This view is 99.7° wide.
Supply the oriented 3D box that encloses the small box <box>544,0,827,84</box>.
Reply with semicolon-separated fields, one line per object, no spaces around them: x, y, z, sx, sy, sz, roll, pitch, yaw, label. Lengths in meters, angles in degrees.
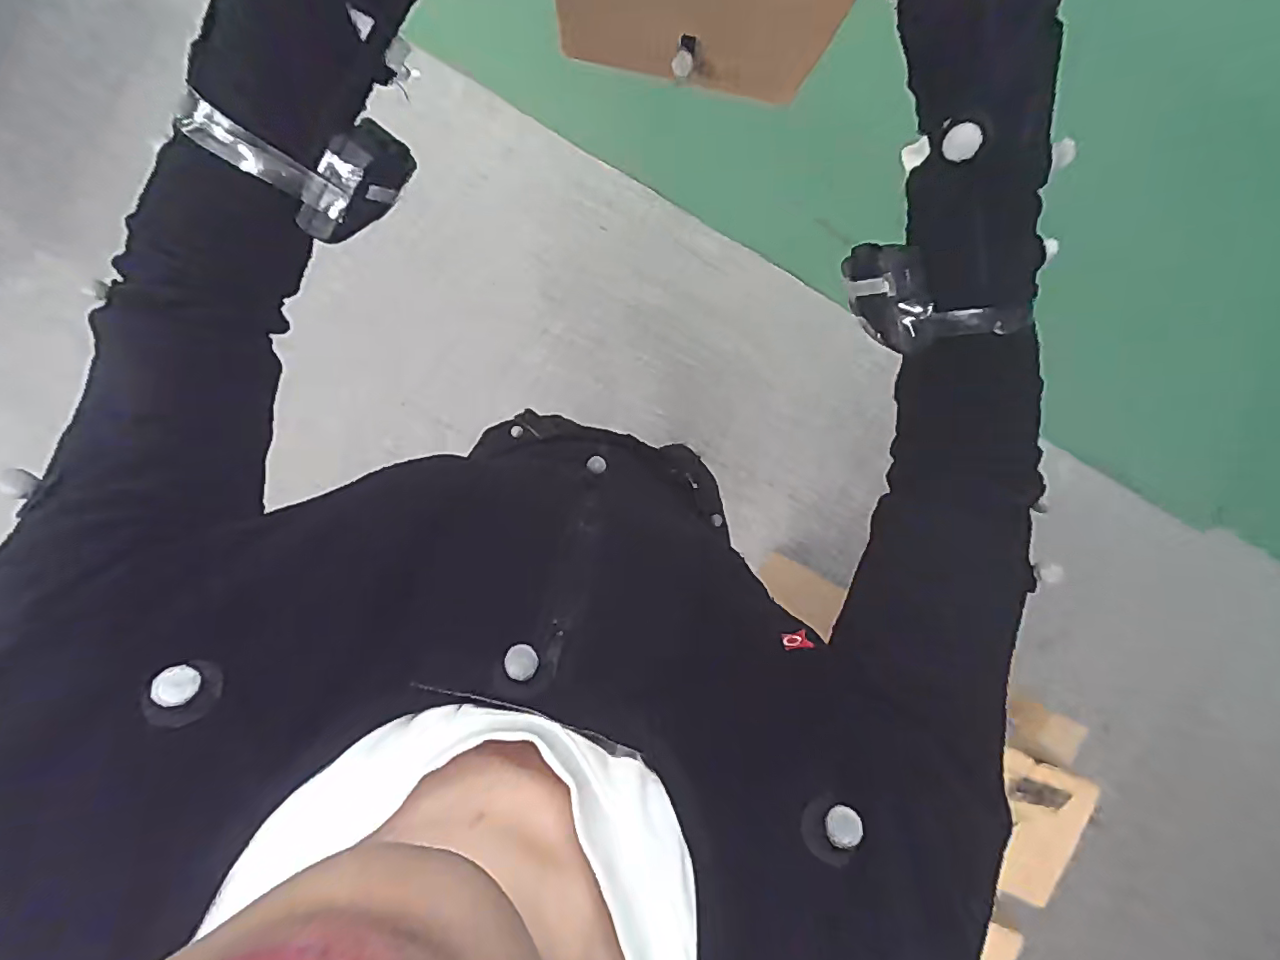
0.038;-0.368;0.305;0.179;0.176;0.168;7;96;-7;small box
